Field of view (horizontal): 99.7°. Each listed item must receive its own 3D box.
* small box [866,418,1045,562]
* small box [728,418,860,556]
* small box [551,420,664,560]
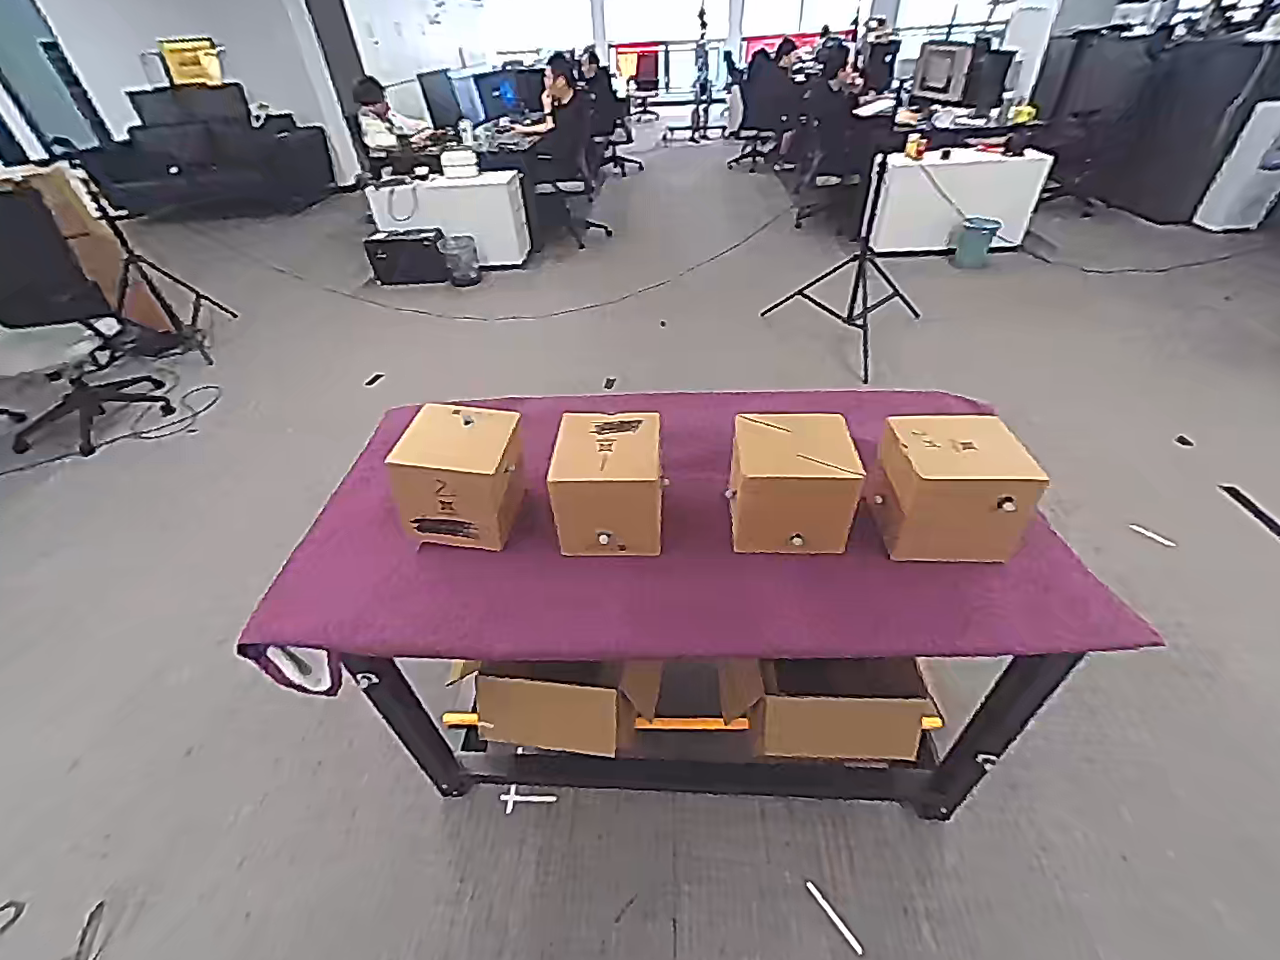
[{"bbox_3d":[0.487,0.017,0.867,0.179,0.176,0.168,0,38,5],"label":"small box"},{"bbox_3d":[0.243,0.008,0.894,0.179,0.176,0.168,0,39,5],"label":"small box"},{"bbox_3d":[-0.046,0.014,0.916,0.168,0.176,0.179,-1,40,4],"label":"small box"}]
